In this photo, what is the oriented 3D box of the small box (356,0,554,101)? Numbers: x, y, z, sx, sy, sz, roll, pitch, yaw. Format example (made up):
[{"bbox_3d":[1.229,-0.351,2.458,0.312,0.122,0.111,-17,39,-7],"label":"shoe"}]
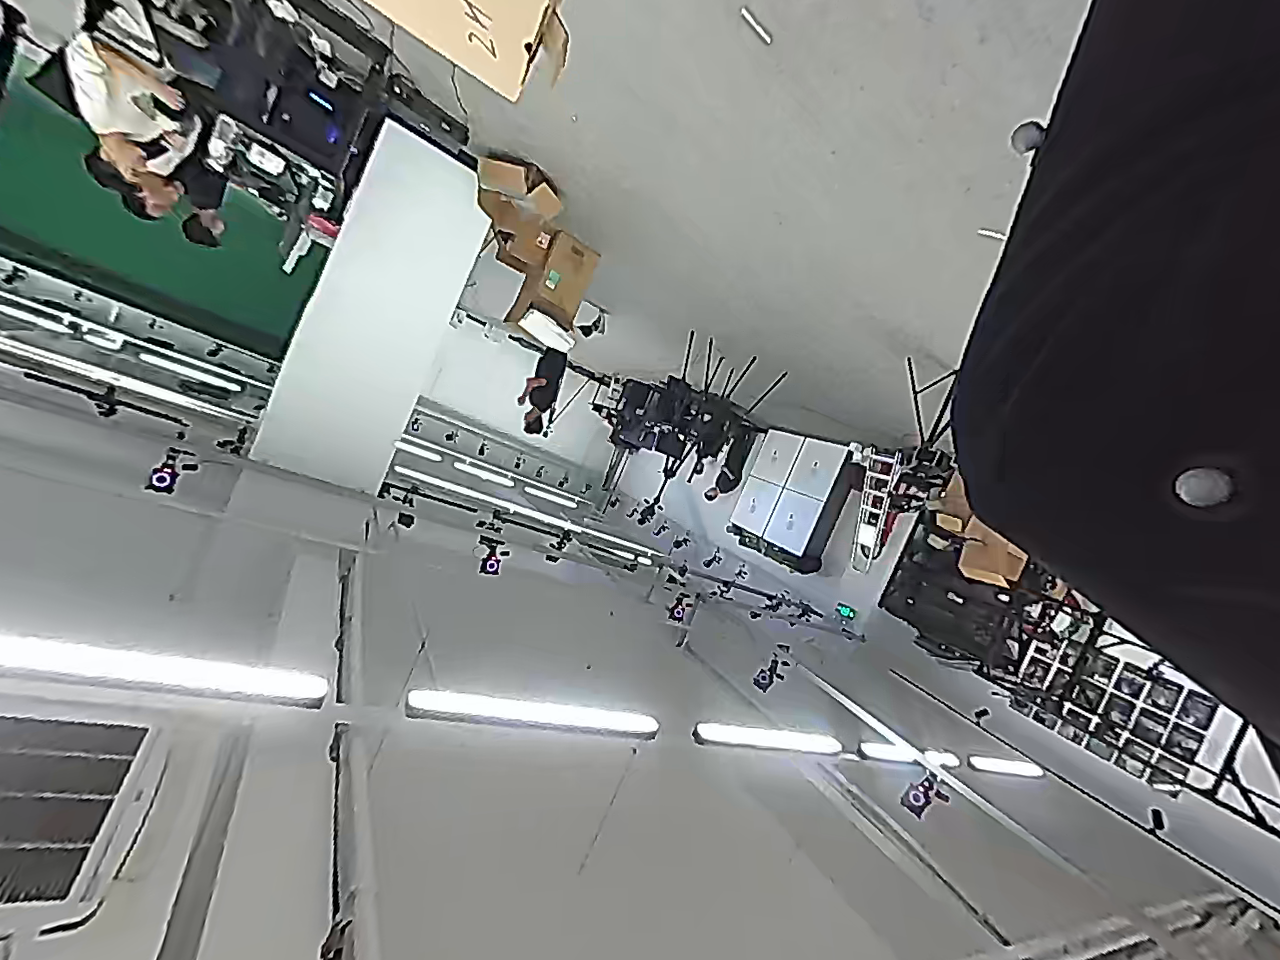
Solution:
[{"bbox_3d":[-0.121,-0.416,0.356,0.179,0.176,0.168,23,-178,-24],"label":"small box"}]
